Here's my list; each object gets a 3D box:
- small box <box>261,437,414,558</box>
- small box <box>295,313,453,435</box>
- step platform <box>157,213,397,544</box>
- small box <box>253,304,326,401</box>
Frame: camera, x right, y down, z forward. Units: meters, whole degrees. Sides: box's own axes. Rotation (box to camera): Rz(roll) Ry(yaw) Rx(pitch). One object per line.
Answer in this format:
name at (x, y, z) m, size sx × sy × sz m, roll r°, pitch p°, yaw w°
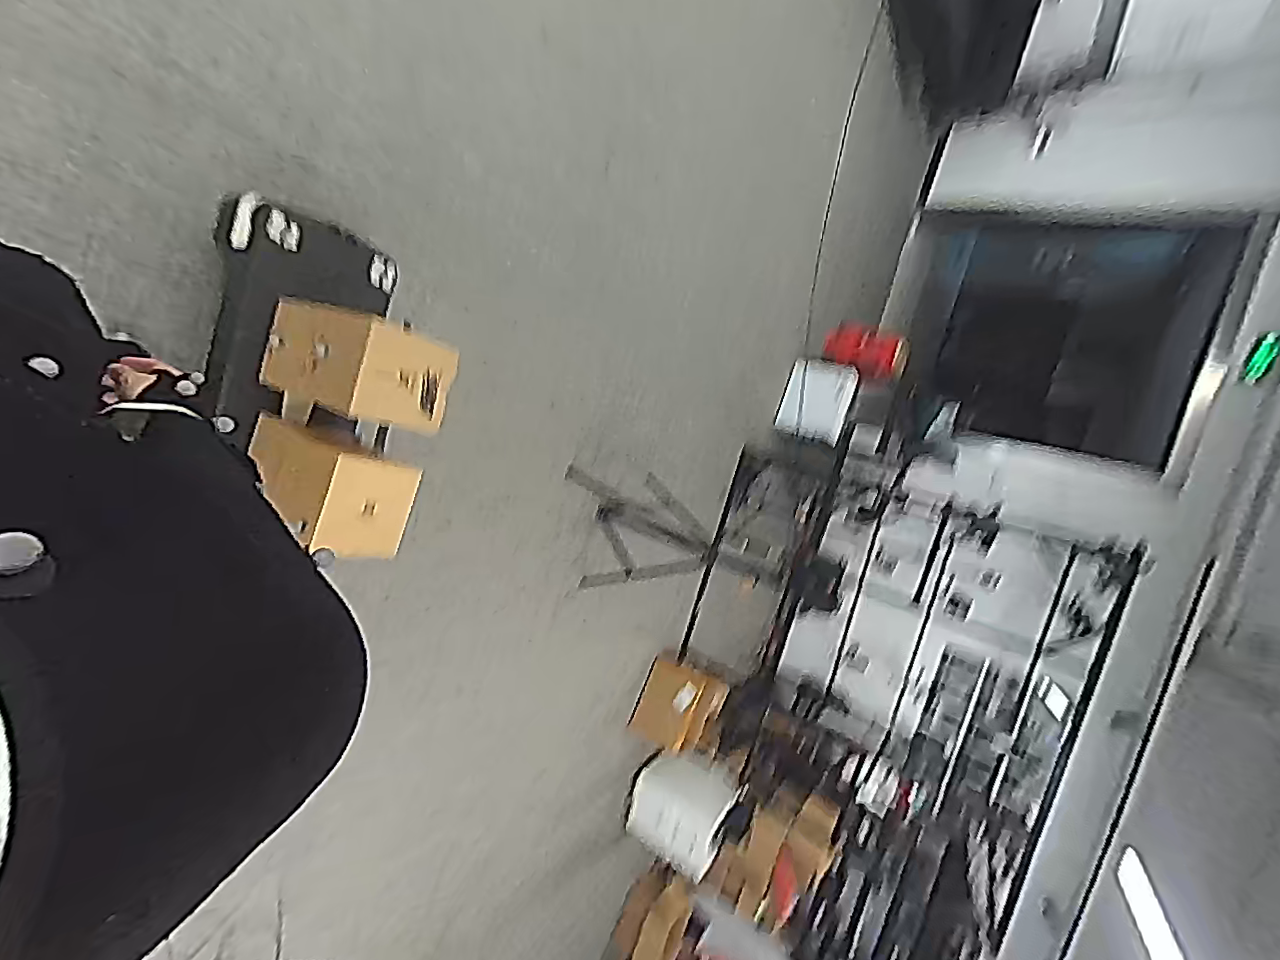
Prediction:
small box at (-0.559, 0.032, 0.997) m, size 0.168 × 0.176 × 0.179 m, roll 18°, pitch 91°, yaw -58°
small box at (-0.485, -0.194, 0.991) m, size 0.179 × 0.176 × 0.168 m, roll 14°, pitch 93°, yaw -58°
step platform at (-0.776, -0.202, 1.183) m, size 0.286 × 0.204 × 0.684 m, roll 12°, pitch 95°, yaw -59°
small box at (-0.621, -0.237, 1.074) m, size 0.179 × 0.176 × 0.168 m, roll 15°, pitch 92°, yaw -58°
